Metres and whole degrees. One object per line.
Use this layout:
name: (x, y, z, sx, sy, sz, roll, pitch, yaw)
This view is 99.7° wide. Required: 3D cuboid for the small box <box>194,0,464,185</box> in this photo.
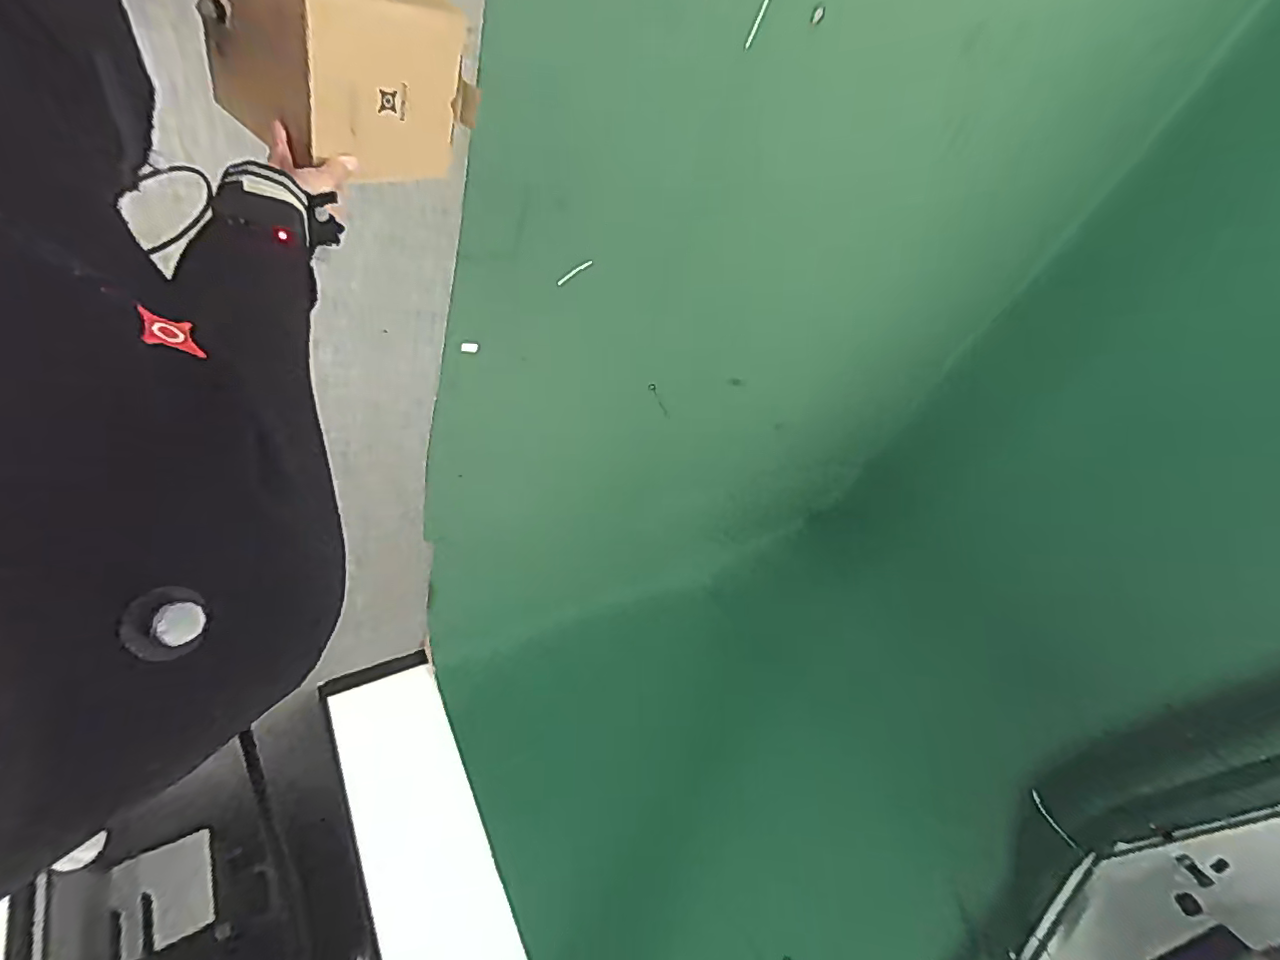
small box: (-0.319, -0.439, 0.566, 0.179, 0.176, 0.168, -41, 166, -45)
